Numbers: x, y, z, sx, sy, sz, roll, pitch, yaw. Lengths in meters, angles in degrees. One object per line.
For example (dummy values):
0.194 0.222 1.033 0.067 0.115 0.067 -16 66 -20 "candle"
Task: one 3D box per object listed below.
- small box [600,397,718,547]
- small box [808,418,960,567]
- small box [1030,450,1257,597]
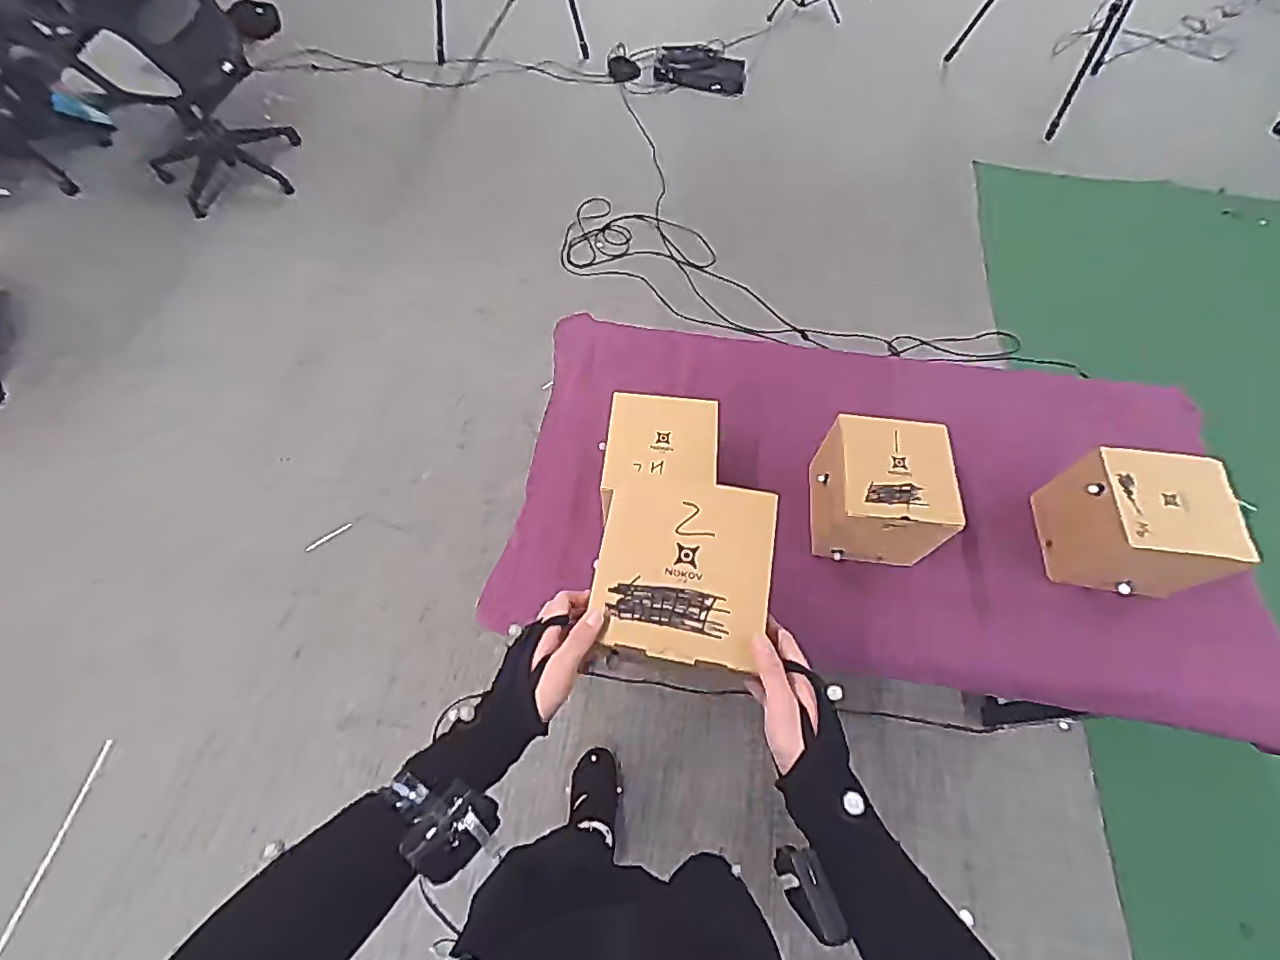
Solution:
0.029 -0.009 0.875 0.168 0.176 0.179 5 62 2 "small box"
0.374 0.027 0.864 0.168 0.176 0.179 7 61 2 "small box"
0.762 0.075 0.844 0.179 0.176 0.168 8 61 3 "small box"
